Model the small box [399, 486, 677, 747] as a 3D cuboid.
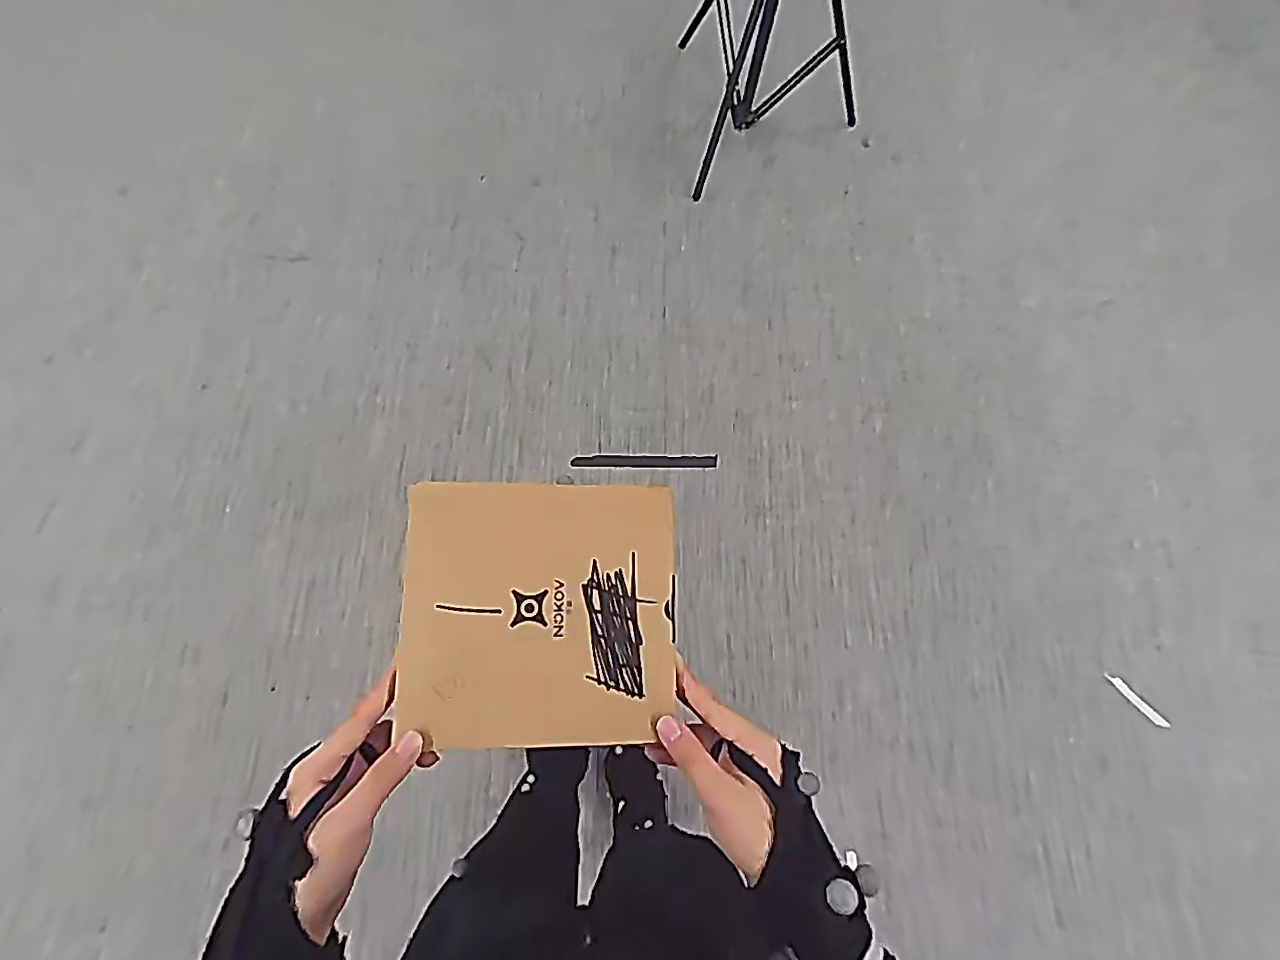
[{"bbox_3d":[-0.073,0.101,0.434,0.179,0.176,0.168,2,79,-7],"label":"small box"}]
